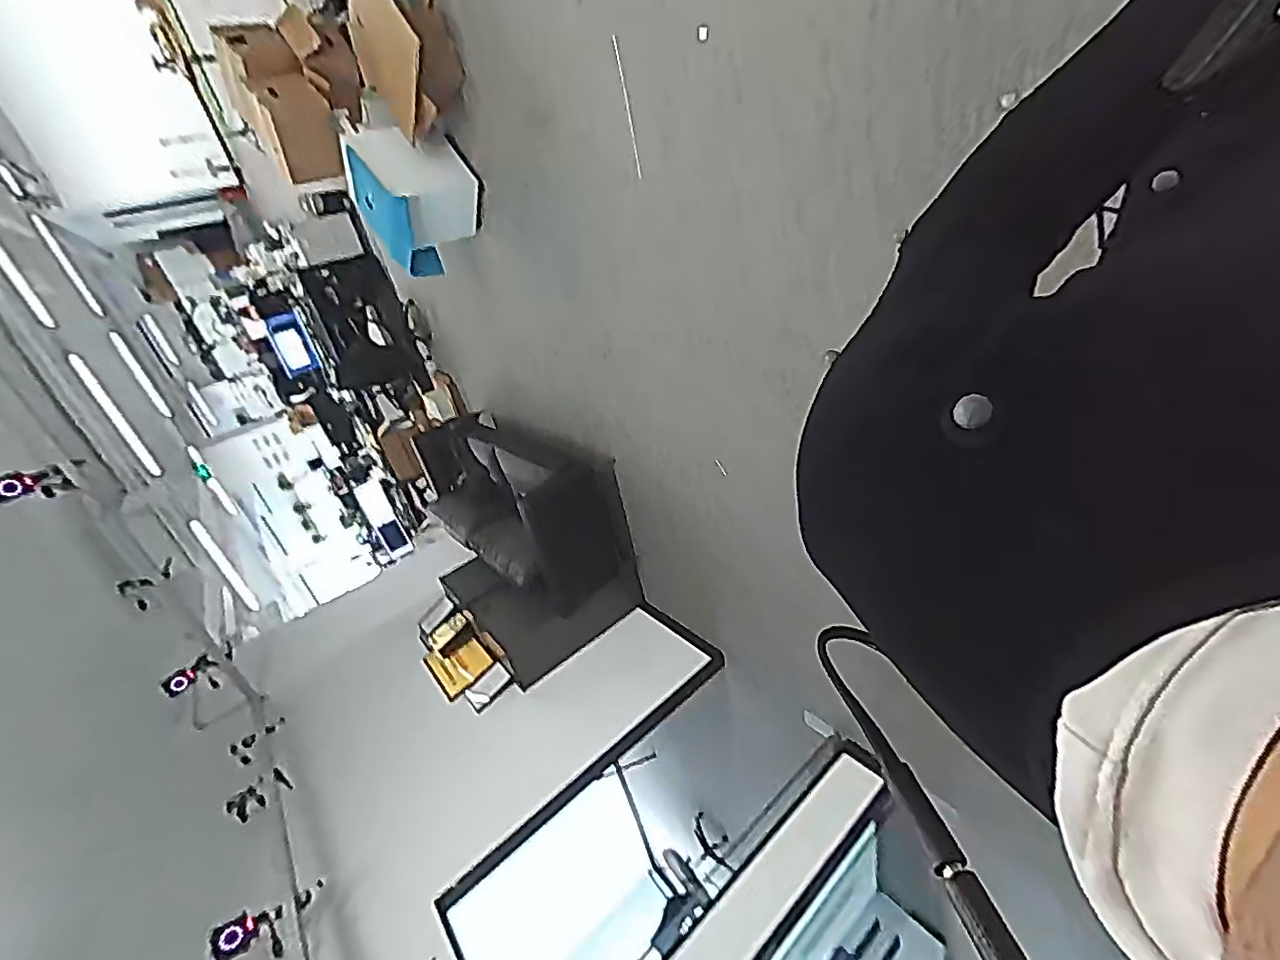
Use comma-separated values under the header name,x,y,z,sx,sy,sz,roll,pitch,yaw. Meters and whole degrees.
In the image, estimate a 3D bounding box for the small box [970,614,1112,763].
name,x,y,z,sx,sy,sz,roll,pitch,yaw
small box,0.796,0.408,1.078,0.168,0.176,0.179,27,137,44
